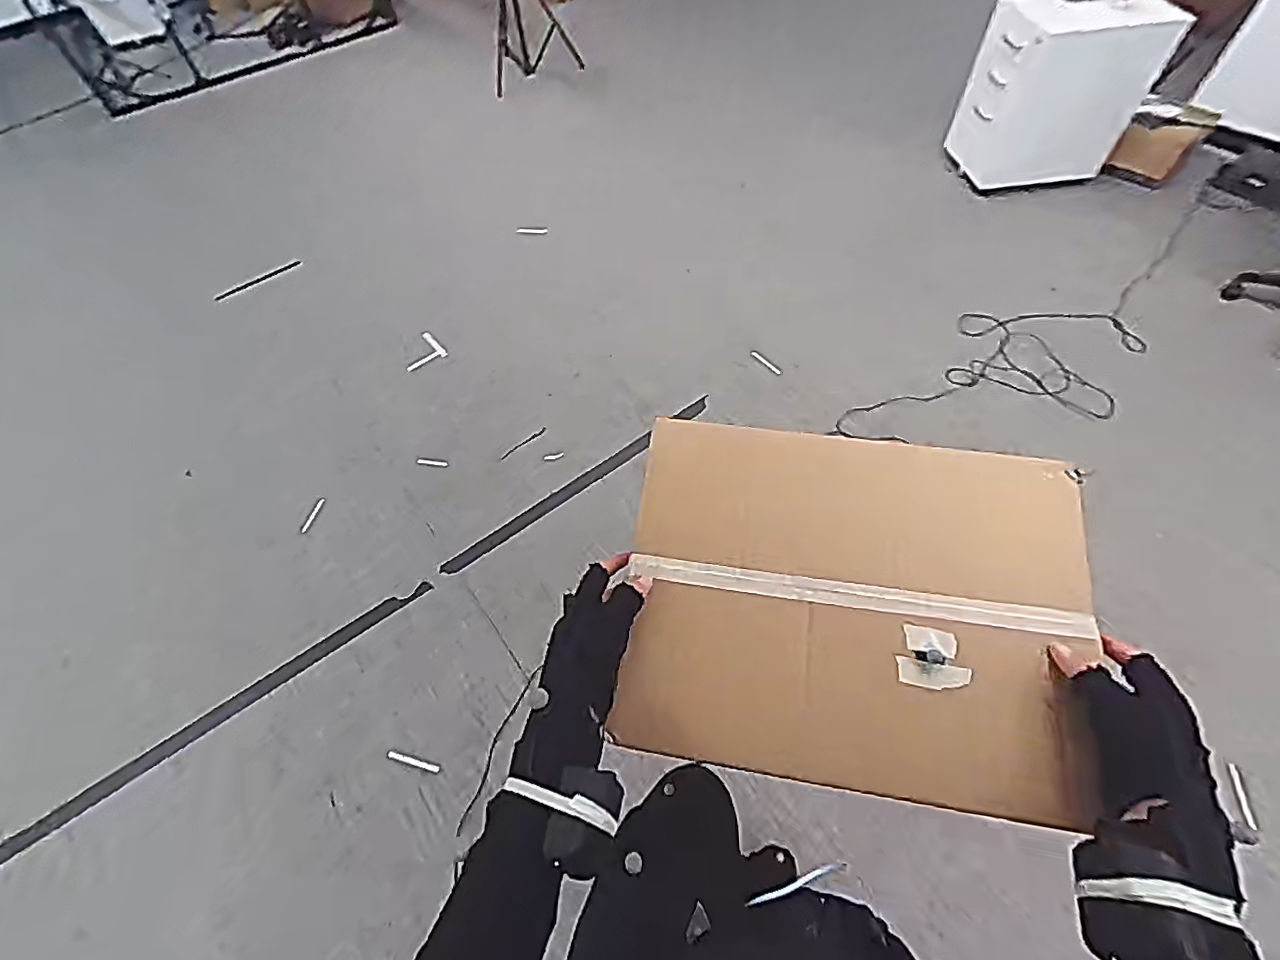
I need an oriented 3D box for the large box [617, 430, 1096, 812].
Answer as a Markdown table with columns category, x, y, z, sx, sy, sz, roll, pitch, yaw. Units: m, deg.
| category | x | y | z | sx | sy | sz | roll | pitch | yaw |
| --- | --- | --- | --- | --- | --- | --- | --- | --- | --- |
| large box | 0.203 | 0.158 | 0.646 | 0.408 | 0.320 | 0.320 | 7 | 72 | 7 |
